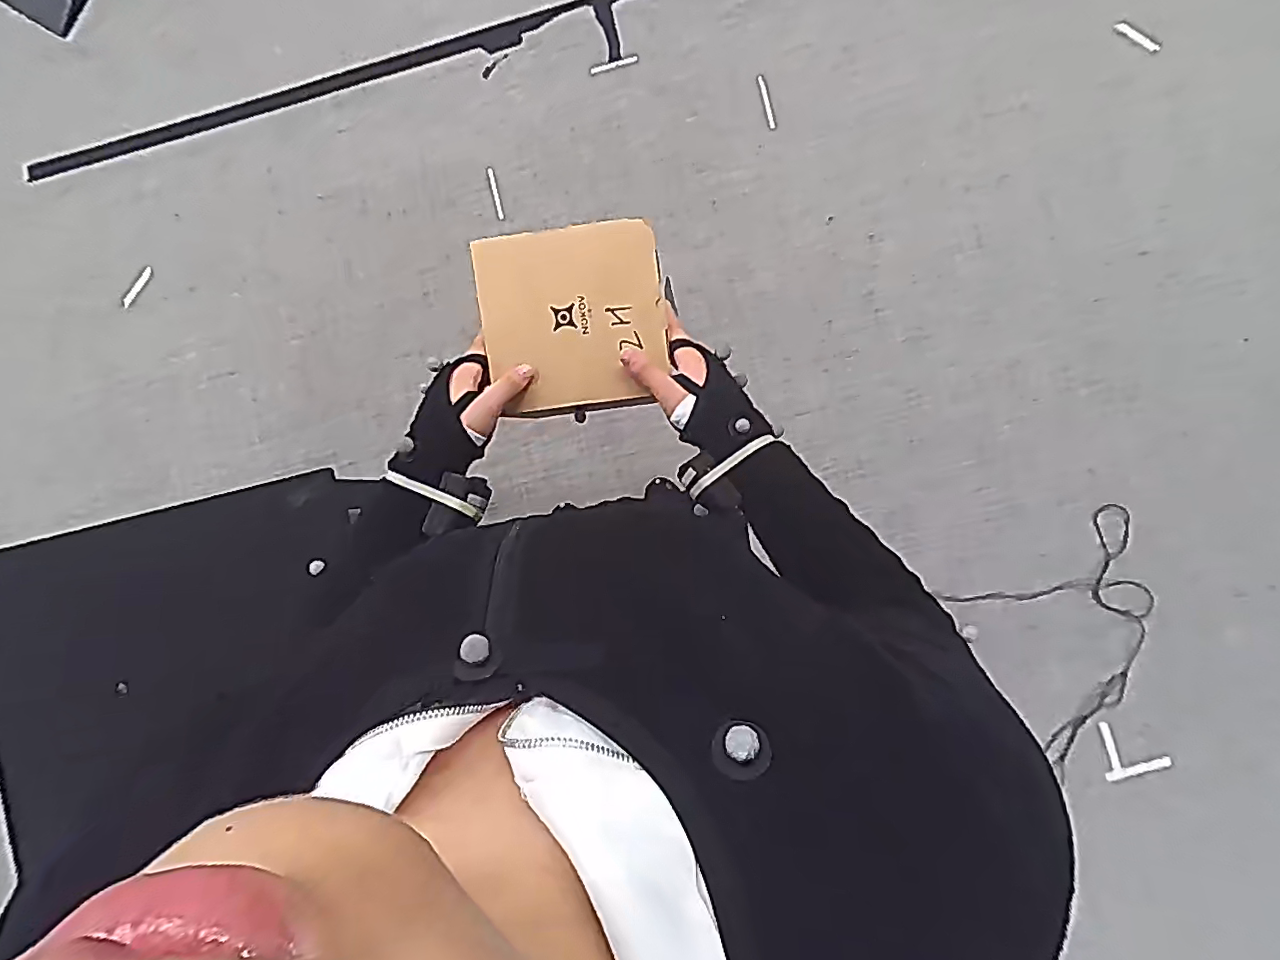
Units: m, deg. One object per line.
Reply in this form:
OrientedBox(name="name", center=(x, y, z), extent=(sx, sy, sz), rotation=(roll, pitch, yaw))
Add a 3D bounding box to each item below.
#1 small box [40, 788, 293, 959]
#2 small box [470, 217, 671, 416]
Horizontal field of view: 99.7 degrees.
OrientedBox(name="small box", center=(-0.599, 0.536, 0.705), extent=(0.179, 0.176, 0.168), rotation=(-10, 89, 1))
OrientedBox(name="small box", center=(-0.063, -0.161, 0.589), extent=(0.179, 0.176, 0.168), rotation=(-7, 96, 1))
